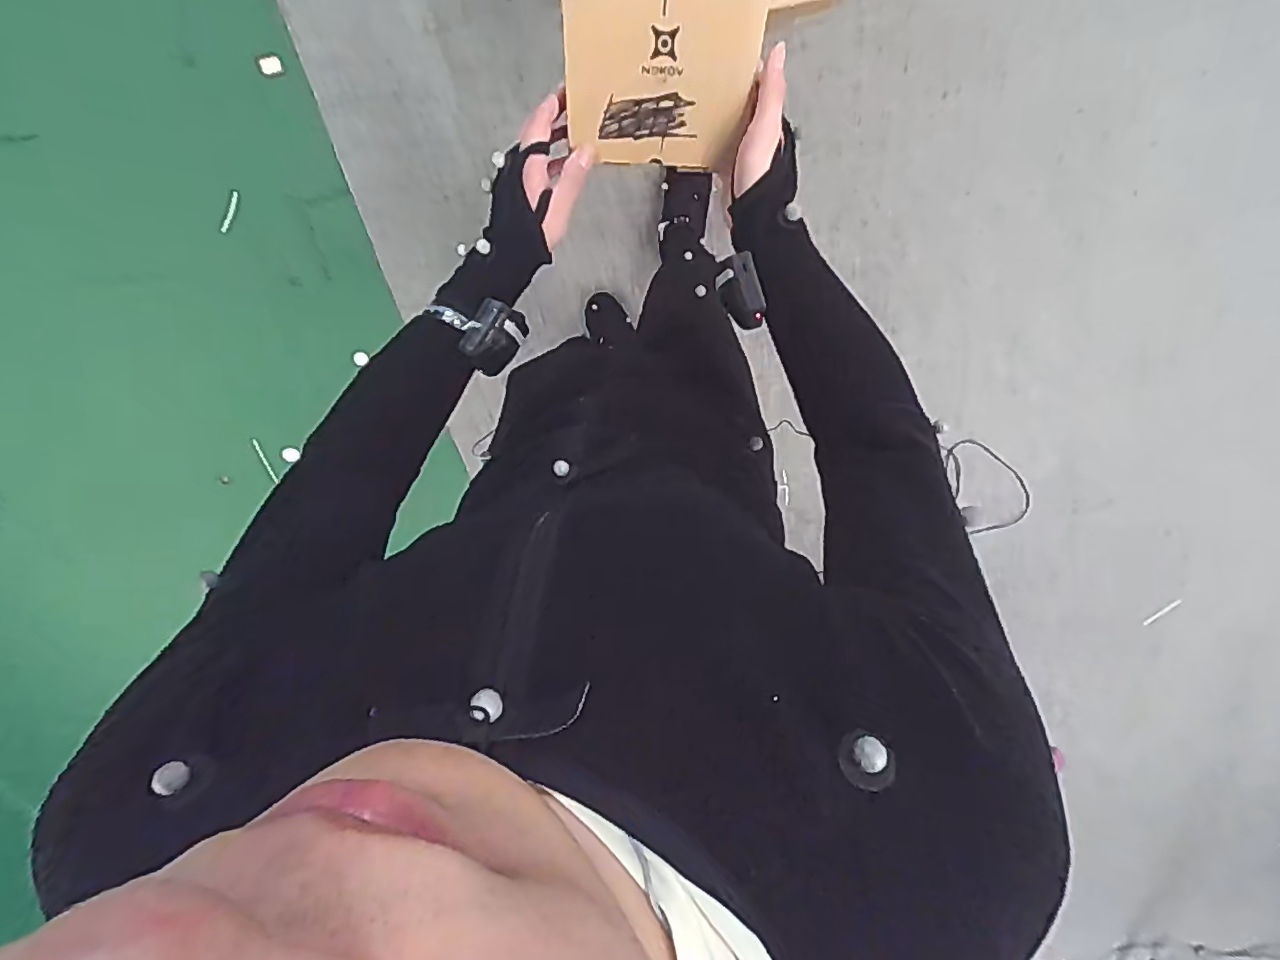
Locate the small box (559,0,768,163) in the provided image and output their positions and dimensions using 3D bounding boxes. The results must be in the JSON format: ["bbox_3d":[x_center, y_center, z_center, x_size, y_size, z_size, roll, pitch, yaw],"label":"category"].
[{"bbox_3d":[0.017,-0.420,0.492,0.168,0.176,0.179,1,141,-2],"label":"small box"}]

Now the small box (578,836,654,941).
[{"bbox_3d":[-0.056,1.055,1.404,0.179,0.176,0.168,-1,120,4],"label":"small box"}]
